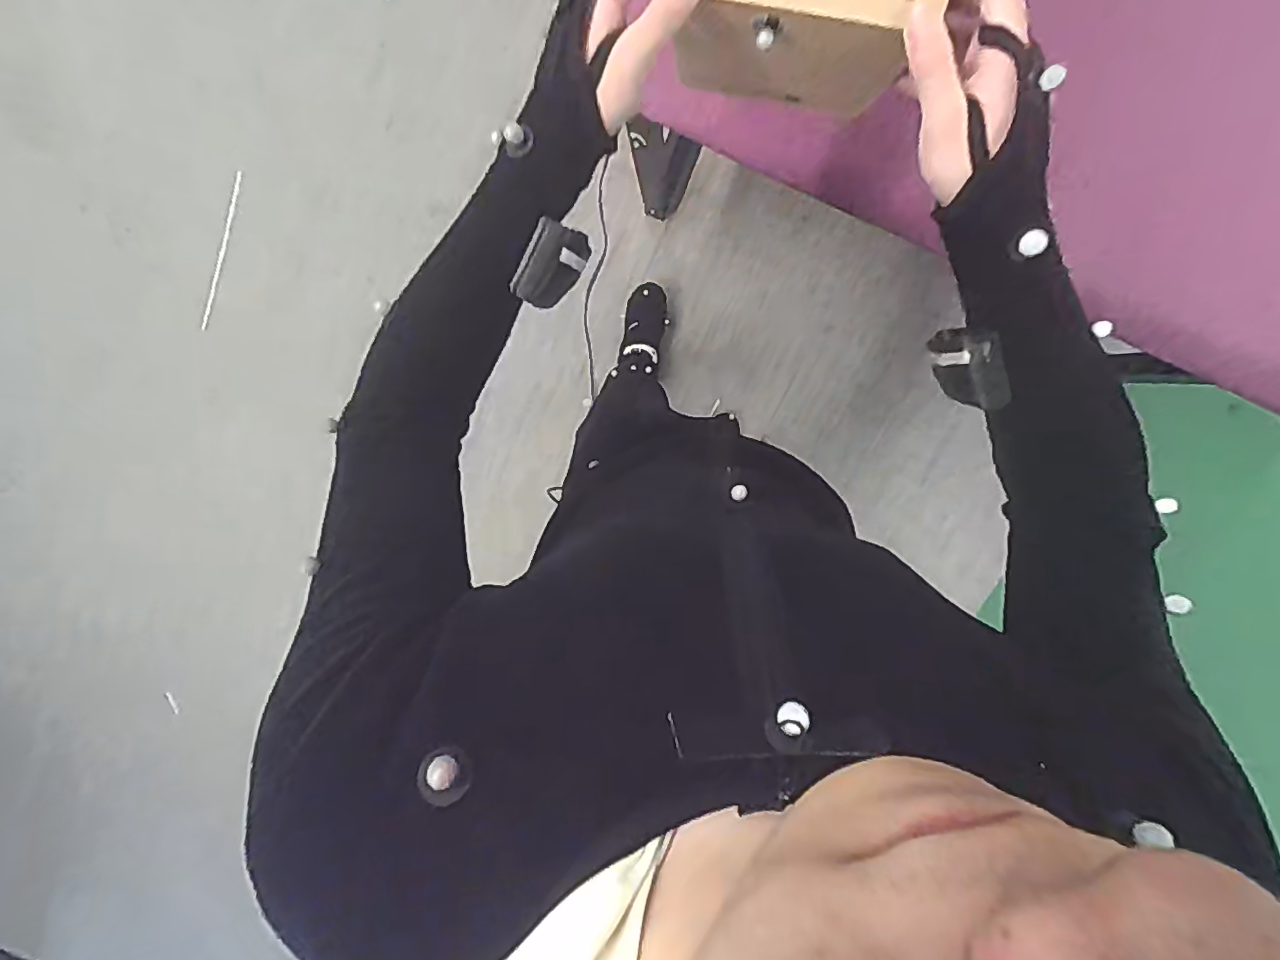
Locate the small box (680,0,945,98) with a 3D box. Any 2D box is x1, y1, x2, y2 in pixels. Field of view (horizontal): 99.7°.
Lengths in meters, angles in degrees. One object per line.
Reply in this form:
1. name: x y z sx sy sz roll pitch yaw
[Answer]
1. small box: 0.120 -0.396 0.362 0.168 0.176 0.179 12 110 2
